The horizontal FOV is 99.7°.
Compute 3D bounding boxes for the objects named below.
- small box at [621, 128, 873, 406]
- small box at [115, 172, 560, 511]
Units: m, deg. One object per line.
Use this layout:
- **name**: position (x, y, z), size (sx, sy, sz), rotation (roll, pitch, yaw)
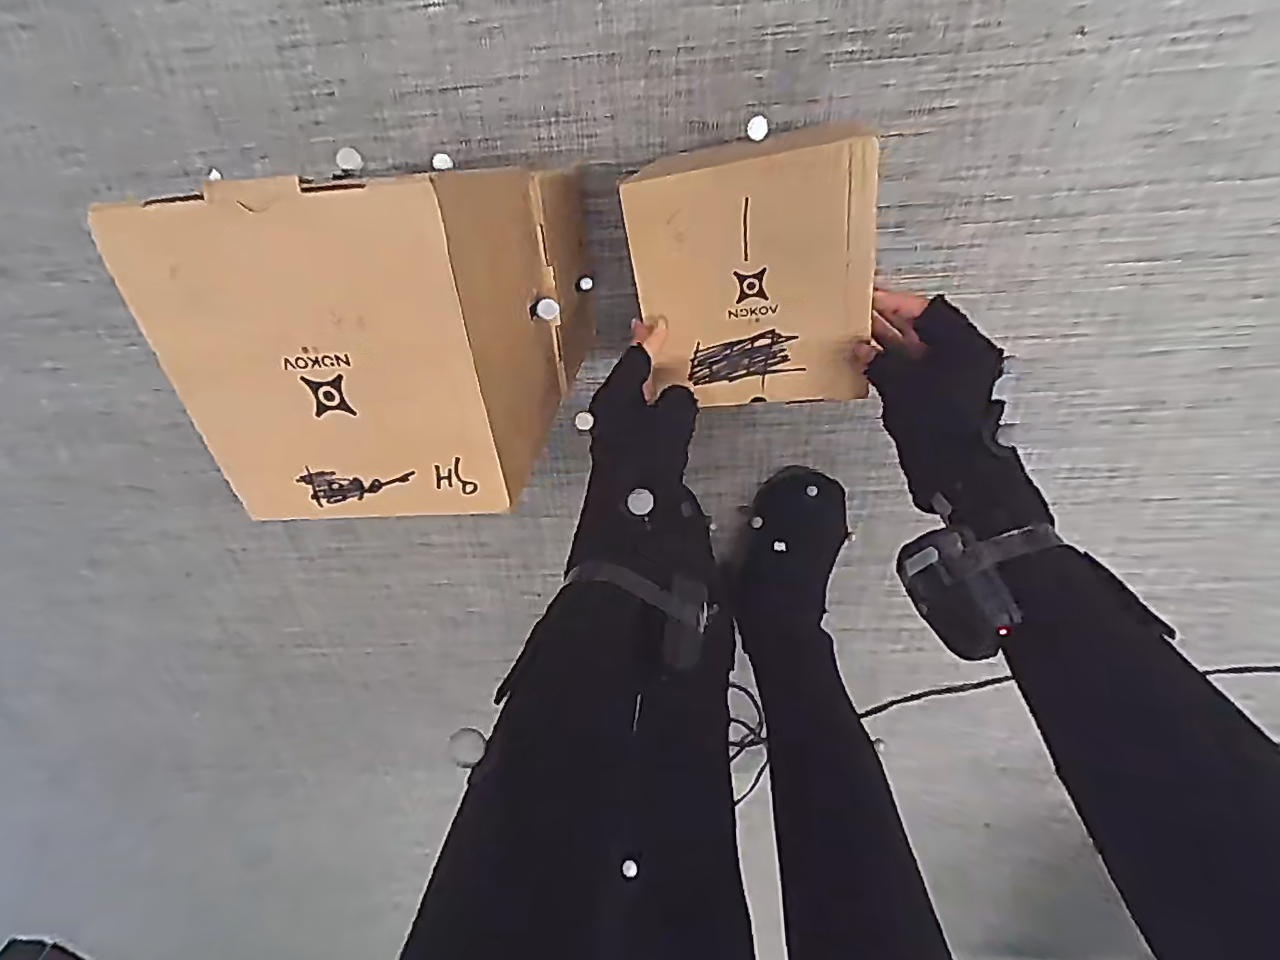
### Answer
- **small box**: position (0.097, -0.180, 0.459), size (0.168, 0.176, 0.179), rotation (-1, 124, 16)
- **small box**: position (-0.156, -0.097, 0.356), size (0.168, 0.176, 0.179), rotation (-1, 120, 5)
